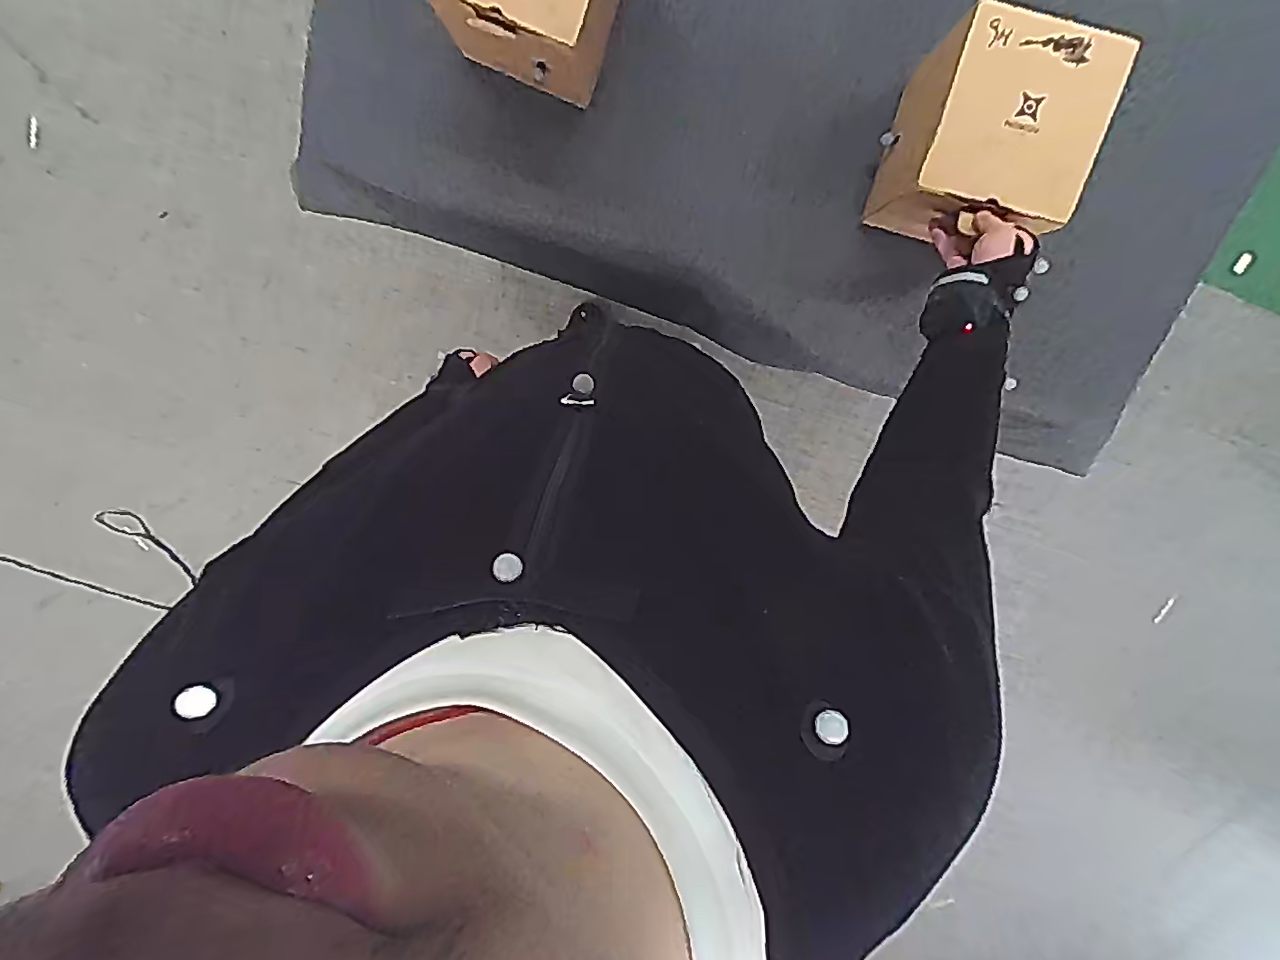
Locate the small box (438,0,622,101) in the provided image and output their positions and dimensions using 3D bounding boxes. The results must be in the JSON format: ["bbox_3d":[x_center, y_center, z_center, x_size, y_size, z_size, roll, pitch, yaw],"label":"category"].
[{"bbox_3d":[-0.108,-0.556,0.583,0.168,0.176,0.179,20,105,-8],"label":"small box"}]

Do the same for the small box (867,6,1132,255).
[{"bbox_3d":[0.390,-0.381,0.629,0.168,0.176,0.179,16,102,-2],"label":"small box"}]
